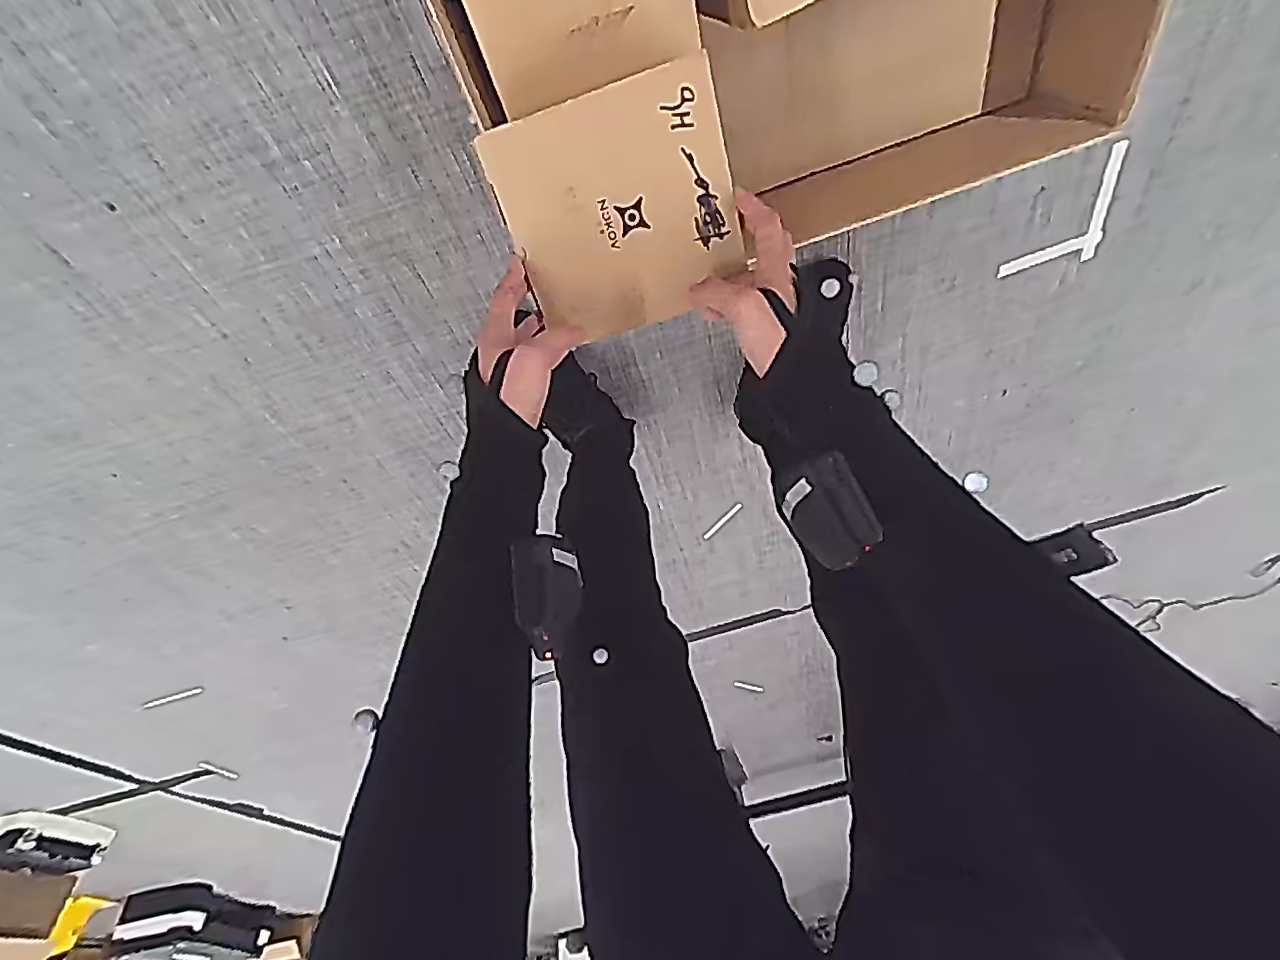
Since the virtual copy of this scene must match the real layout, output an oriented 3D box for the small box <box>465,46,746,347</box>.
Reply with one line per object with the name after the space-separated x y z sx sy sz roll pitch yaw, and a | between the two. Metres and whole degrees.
-0.019 -0.239 0.472 0.179 0.176 0.168 -15 121 8 | small box
